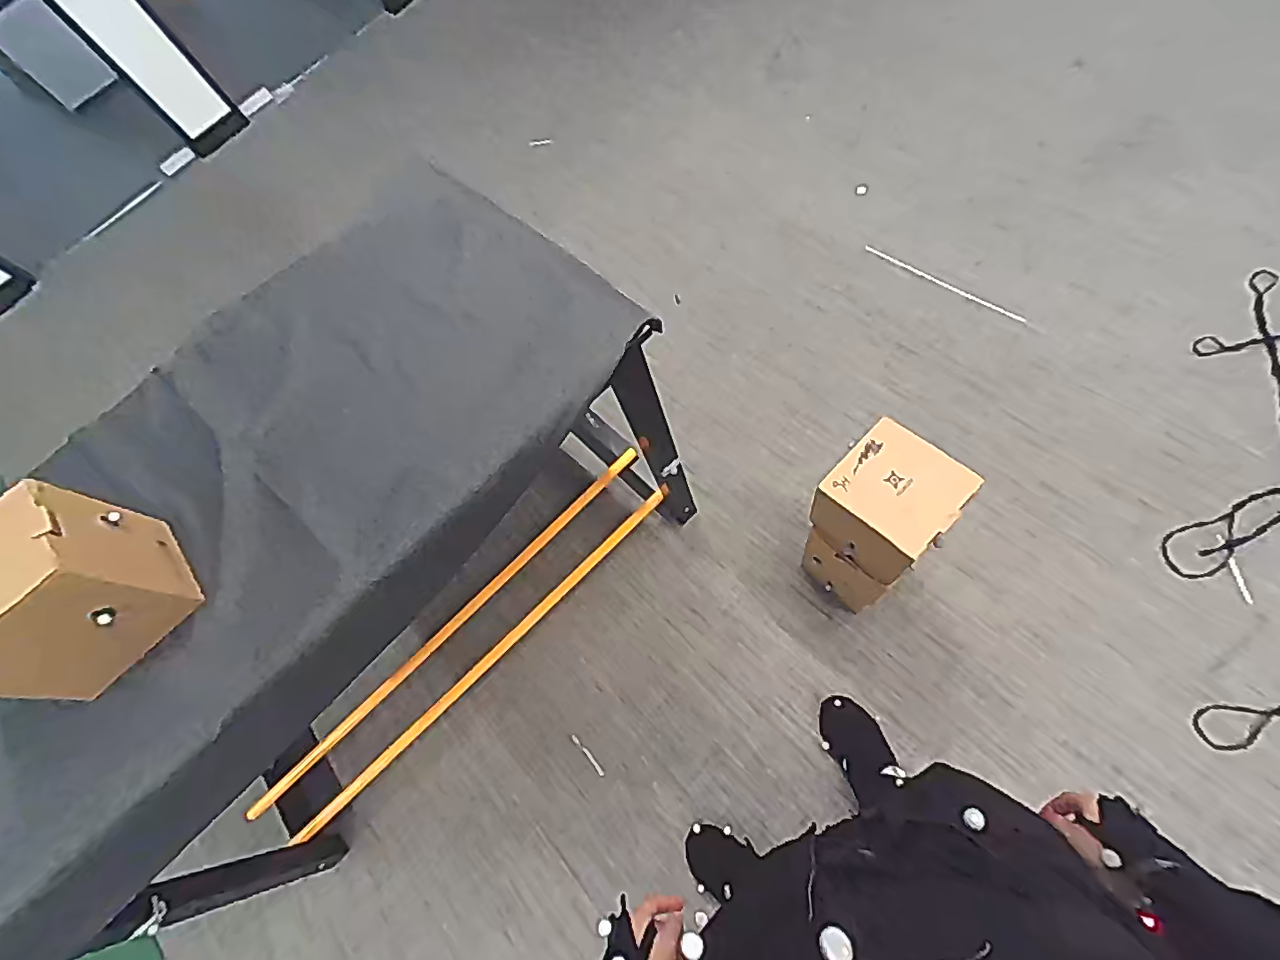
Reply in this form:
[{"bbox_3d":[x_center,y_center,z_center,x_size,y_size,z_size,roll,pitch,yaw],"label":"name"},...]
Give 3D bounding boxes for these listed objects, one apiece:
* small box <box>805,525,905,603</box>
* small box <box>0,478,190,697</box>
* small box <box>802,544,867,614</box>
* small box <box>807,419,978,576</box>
[{"bbox_3d":[0.434,0.111,1.035,0.179,0.176,0.168,-45,65,-10],"label":"small box"},{"bbox_3d":[-0.693,0.135,0.648,0.179,0.176,0.168,-45,64,-9],"label":"small box"},{"bbox_3d":[0.473,0.165,1.185,0.179,0.176,0.168,-43,64,-9],"label":"small box"},{"bbox_3d":[0.400,0.040,0.891,0.168,0.176,0.179,-43,66,-9],"label":"small box"}]
